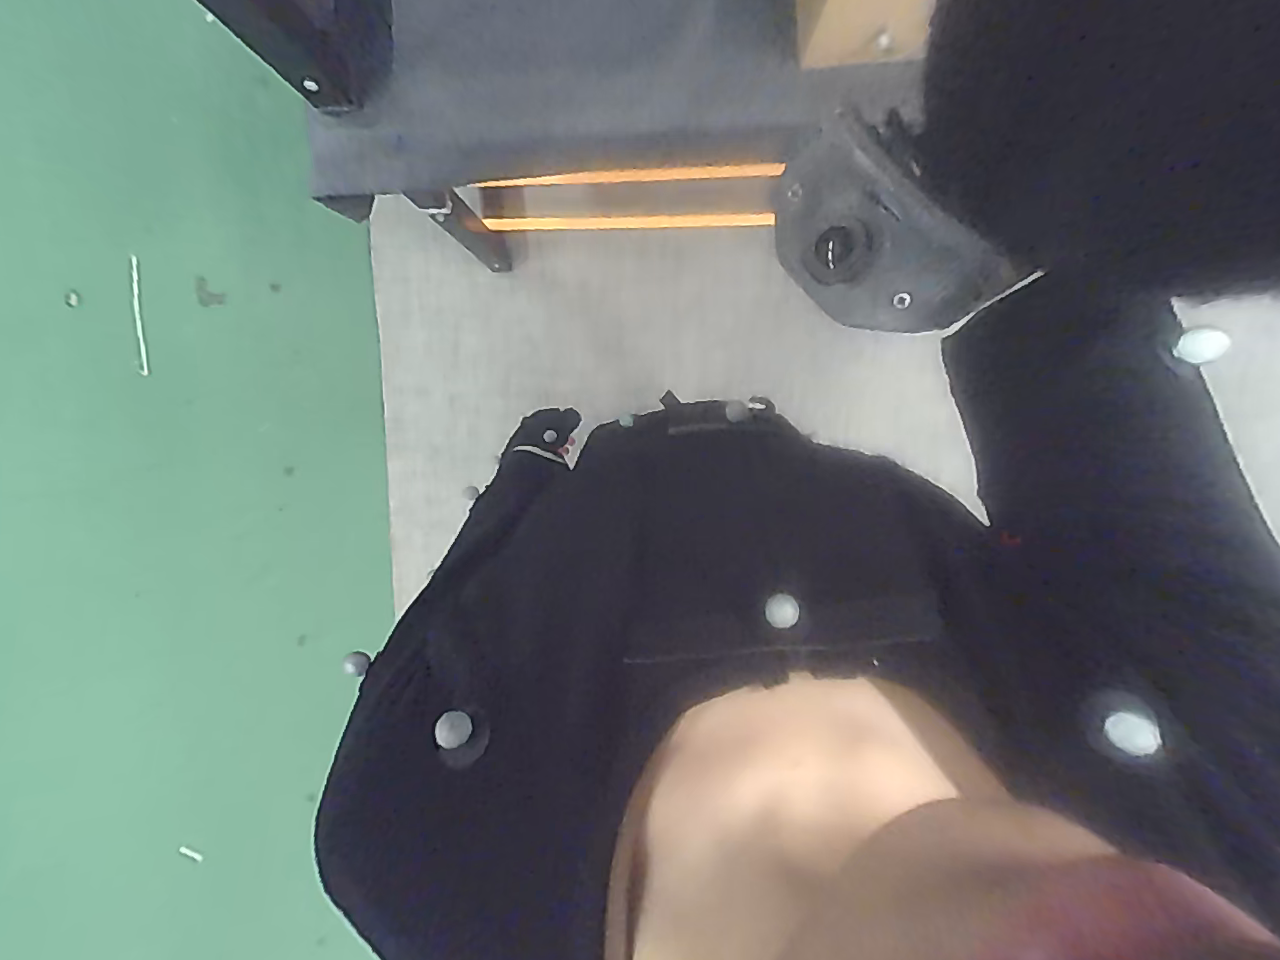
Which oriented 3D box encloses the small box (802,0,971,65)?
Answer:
[{"bbox_3d":[0.278,-0.604,0.591,0.168,0.176,0.179,-3,95,3],"label":"small box"}]
